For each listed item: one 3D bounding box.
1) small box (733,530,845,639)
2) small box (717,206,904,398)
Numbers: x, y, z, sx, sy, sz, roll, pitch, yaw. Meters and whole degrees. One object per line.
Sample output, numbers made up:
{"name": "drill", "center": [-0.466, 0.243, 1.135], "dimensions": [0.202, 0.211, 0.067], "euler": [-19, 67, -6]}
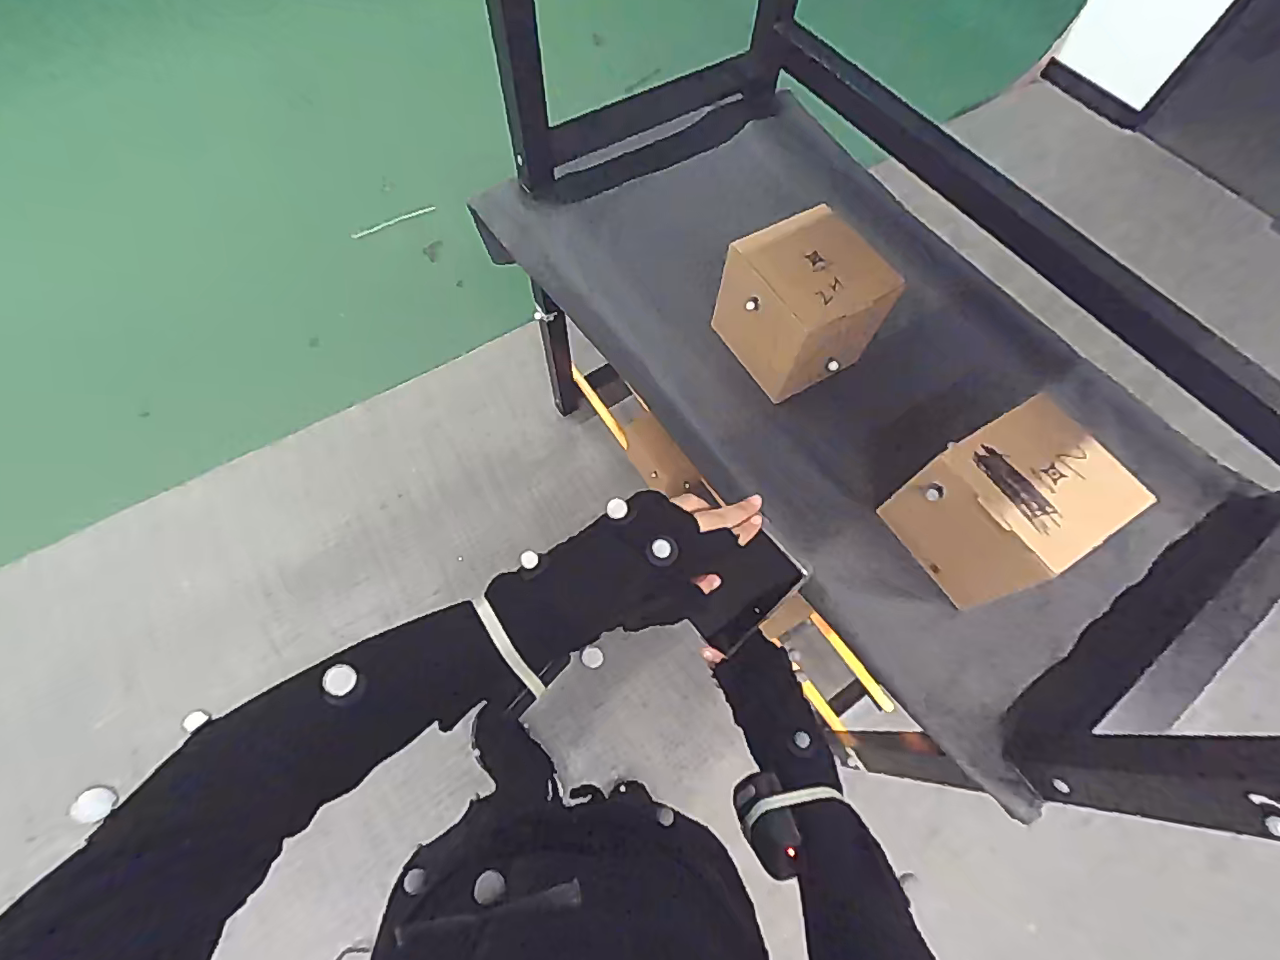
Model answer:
{"name": "small box", "center": [0.331, 0.248, 1.251], "dimensions": [0.179, 0.176, 0.168], "euler": [-28, 70, -14]}
{"name": "small box", "center": [0.233, -0.254, 0.792], "dimensions": [0.168, 0.176, 0.179], "euler": [-28, 70, -14]}
